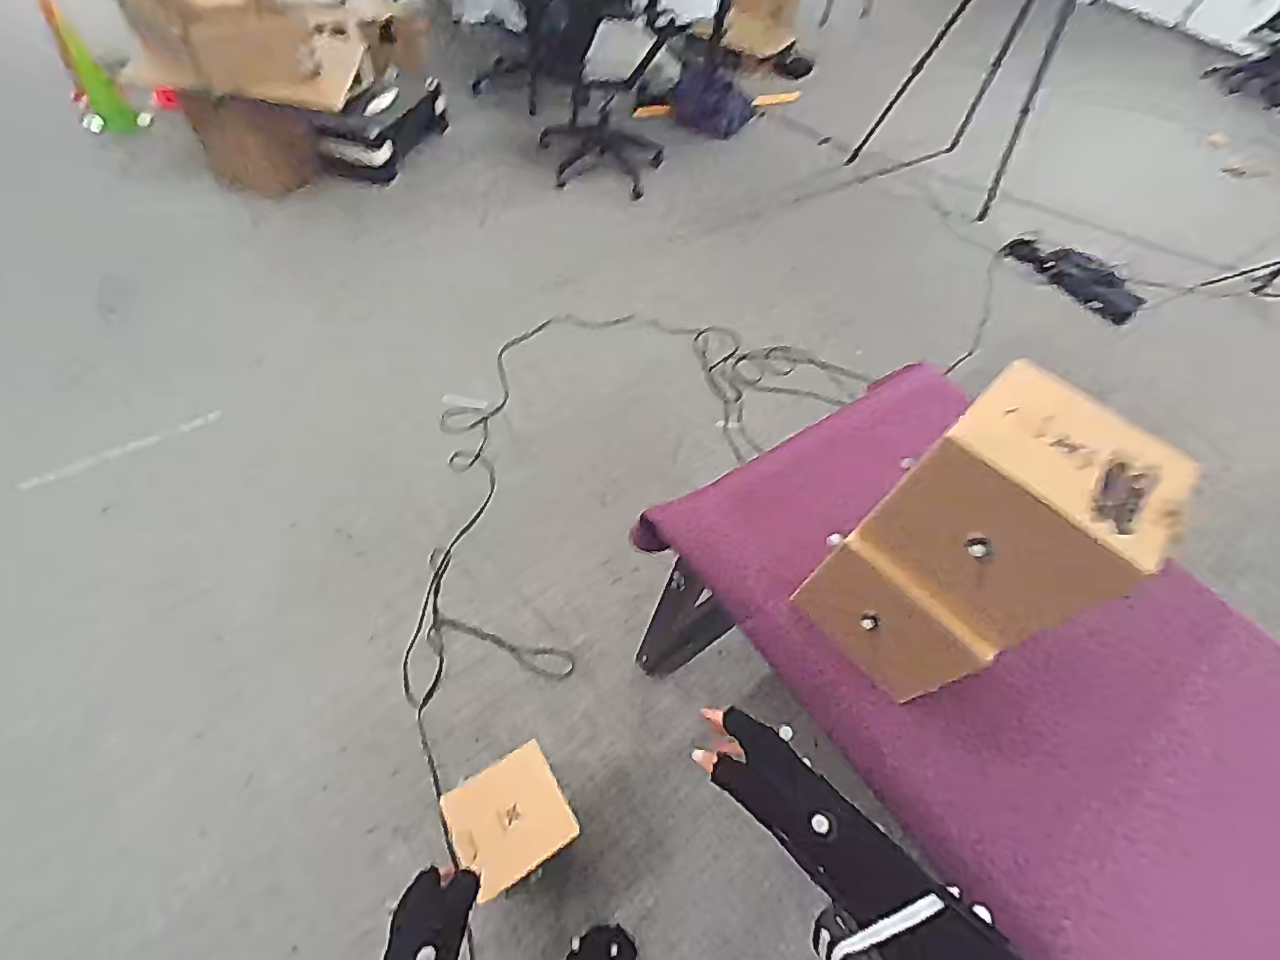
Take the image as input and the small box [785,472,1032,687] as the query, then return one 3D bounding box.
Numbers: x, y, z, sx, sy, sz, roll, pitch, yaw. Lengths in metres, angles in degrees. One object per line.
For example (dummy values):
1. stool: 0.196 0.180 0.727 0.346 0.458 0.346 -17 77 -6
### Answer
1. small box: 0.314 0.129 0.664 0.168 0.176 0.179 -34 67 -29
